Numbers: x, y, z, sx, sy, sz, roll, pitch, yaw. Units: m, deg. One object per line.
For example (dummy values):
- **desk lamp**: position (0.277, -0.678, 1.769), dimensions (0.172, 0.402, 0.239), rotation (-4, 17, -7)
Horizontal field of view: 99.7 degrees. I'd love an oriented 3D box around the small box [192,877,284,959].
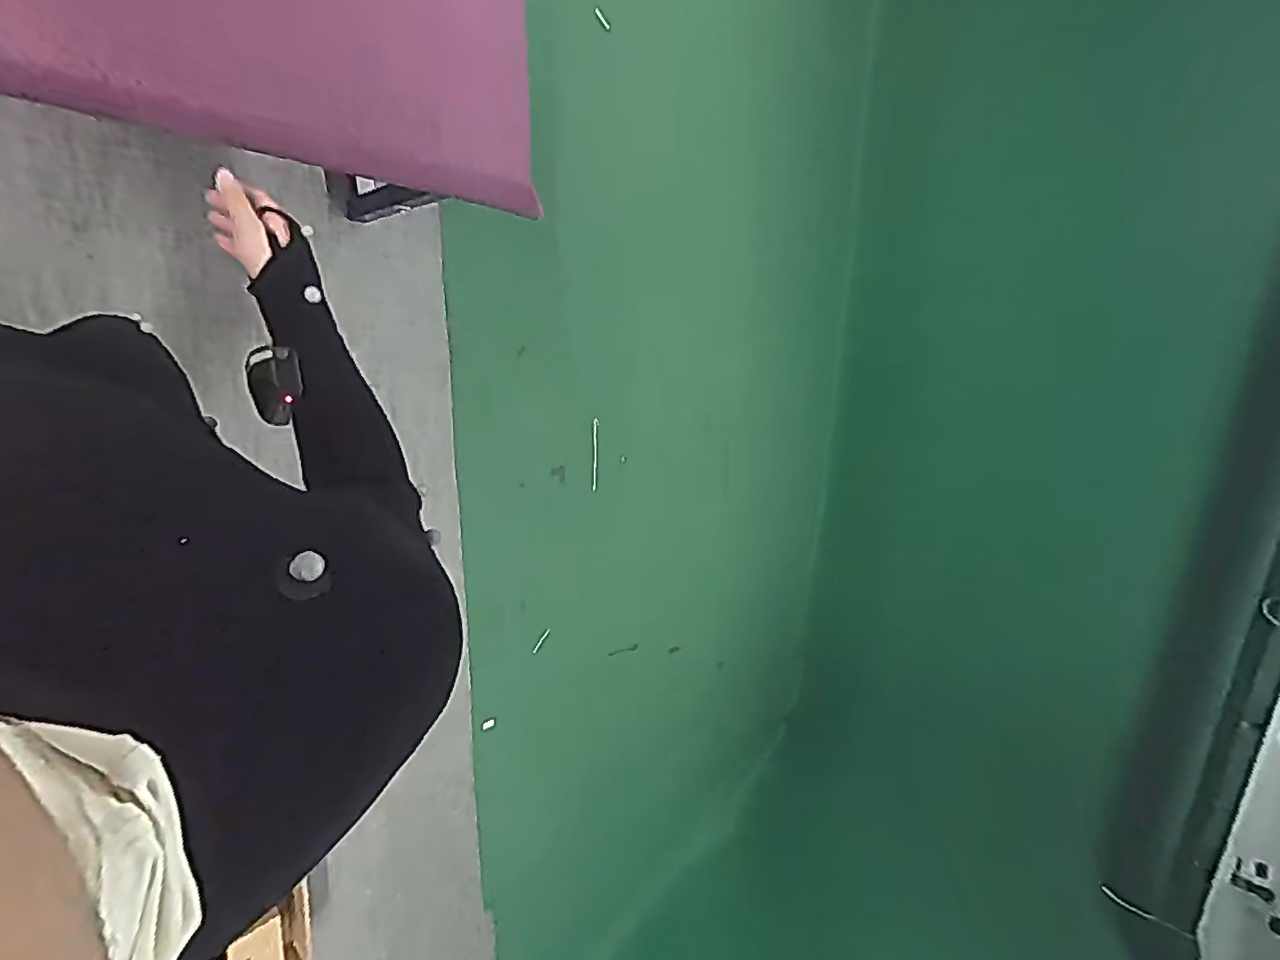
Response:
- **small box**: position (-1.085, 1.239, 1.461), dimensions (0.168, 0.176, 0.179), rotation (-10, 108, -48)
